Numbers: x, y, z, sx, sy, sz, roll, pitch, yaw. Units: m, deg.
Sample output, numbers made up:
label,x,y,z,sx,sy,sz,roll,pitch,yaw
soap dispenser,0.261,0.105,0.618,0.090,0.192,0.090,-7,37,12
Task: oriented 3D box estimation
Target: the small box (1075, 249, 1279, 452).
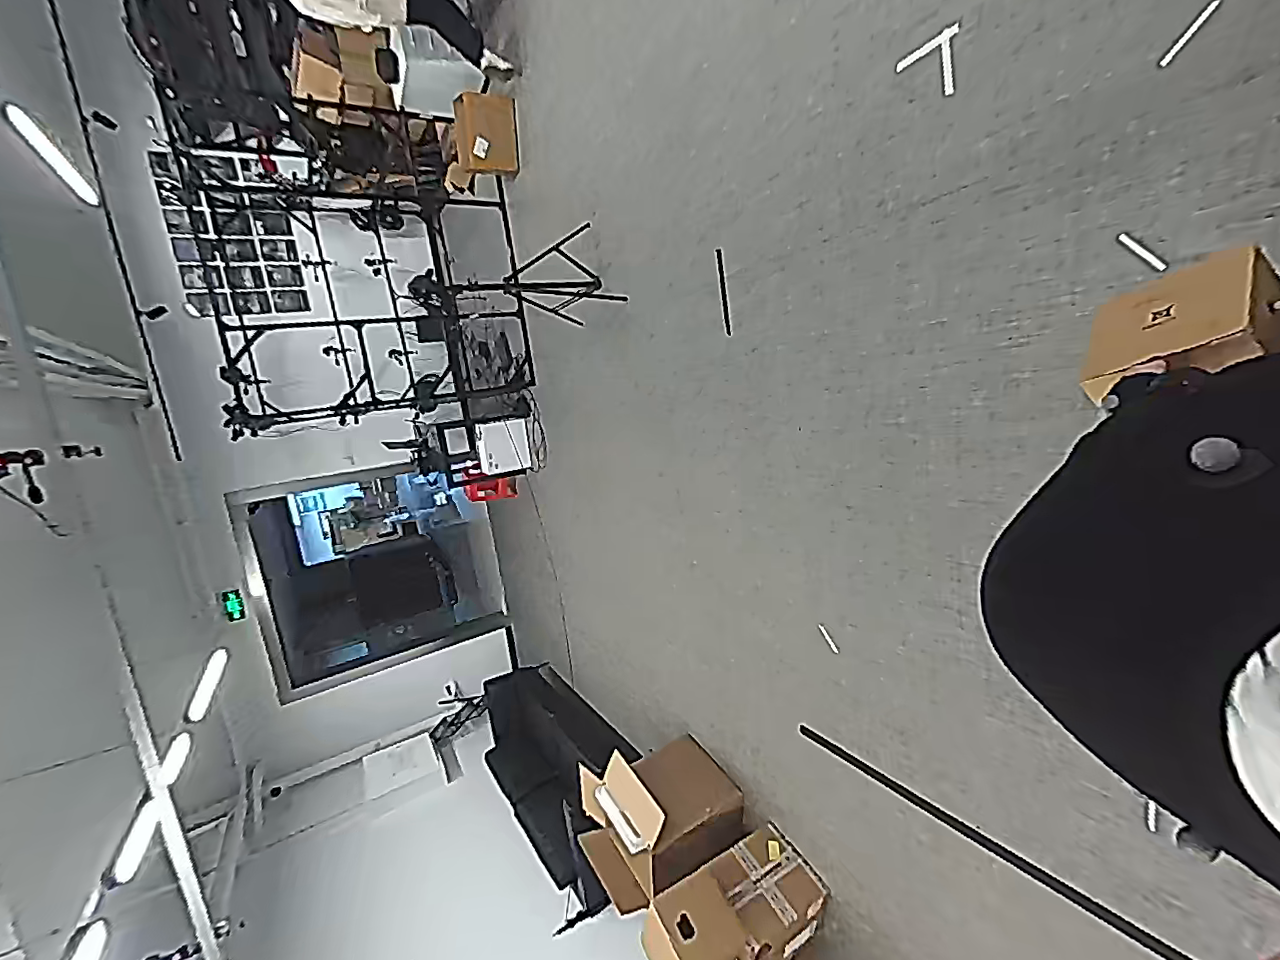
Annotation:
label,x,y,z,sx,sy,sz,roll,pitch,yaw
small box,0.729,-0.155,0.716,0.176,0.179,0.168,42,154,-13
